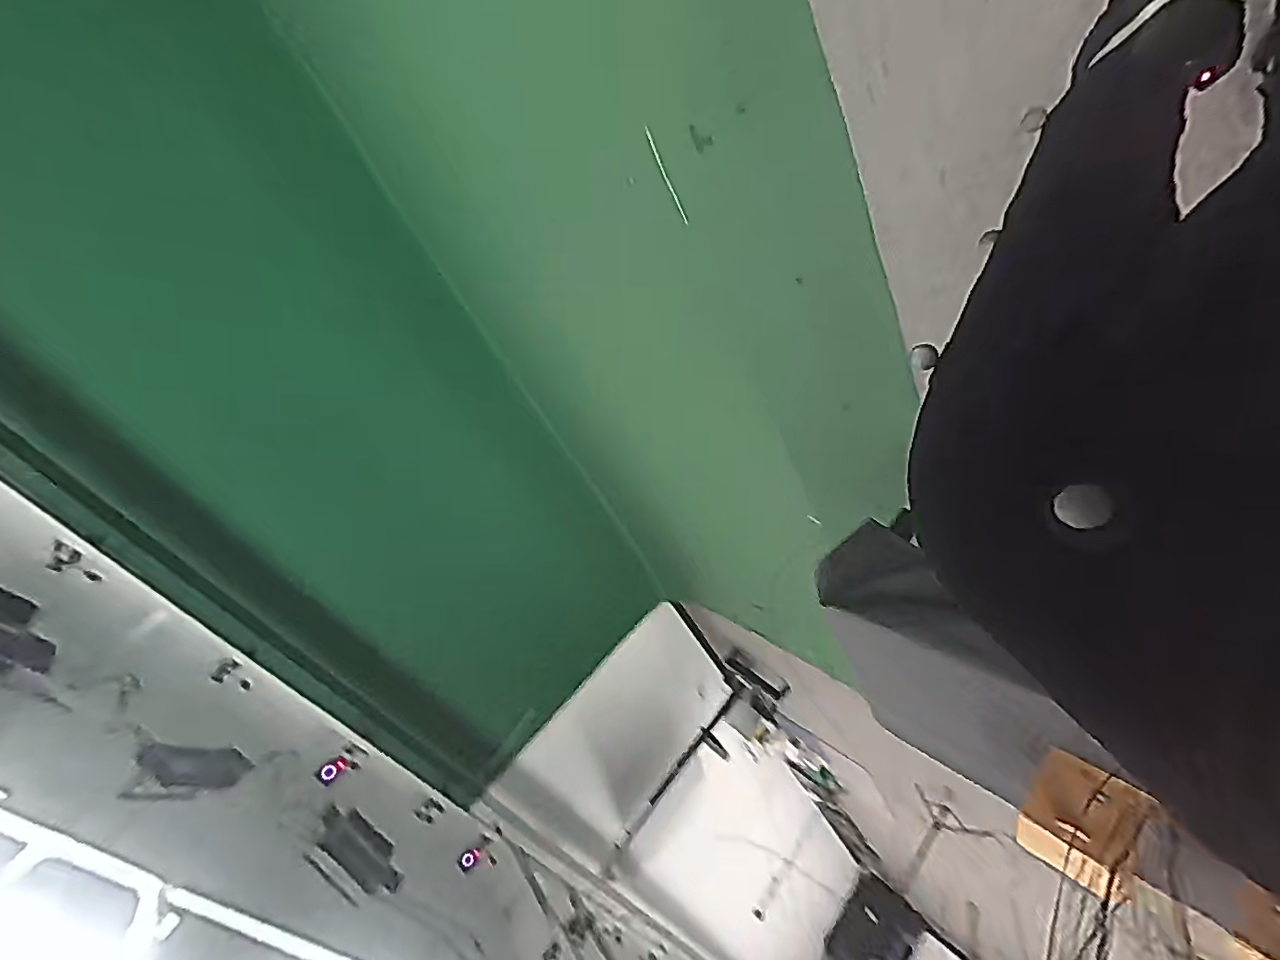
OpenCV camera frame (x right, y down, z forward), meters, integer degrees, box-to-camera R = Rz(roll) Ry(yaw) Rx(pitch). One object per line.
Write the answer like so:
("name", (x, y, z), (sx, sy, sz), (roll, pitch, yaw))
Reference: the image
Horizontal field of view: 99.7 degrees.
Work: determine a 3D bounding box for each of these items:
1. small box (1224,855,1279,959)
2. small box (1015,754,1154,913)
("small box", (1.023, 0.715, 0.806), (0.179, 0.176, 0.168), (53, 160, -22))
("small box", (0.863, 0.683, 1.057), (0.168, 0.176, 0.179), (22, 148, 49))
